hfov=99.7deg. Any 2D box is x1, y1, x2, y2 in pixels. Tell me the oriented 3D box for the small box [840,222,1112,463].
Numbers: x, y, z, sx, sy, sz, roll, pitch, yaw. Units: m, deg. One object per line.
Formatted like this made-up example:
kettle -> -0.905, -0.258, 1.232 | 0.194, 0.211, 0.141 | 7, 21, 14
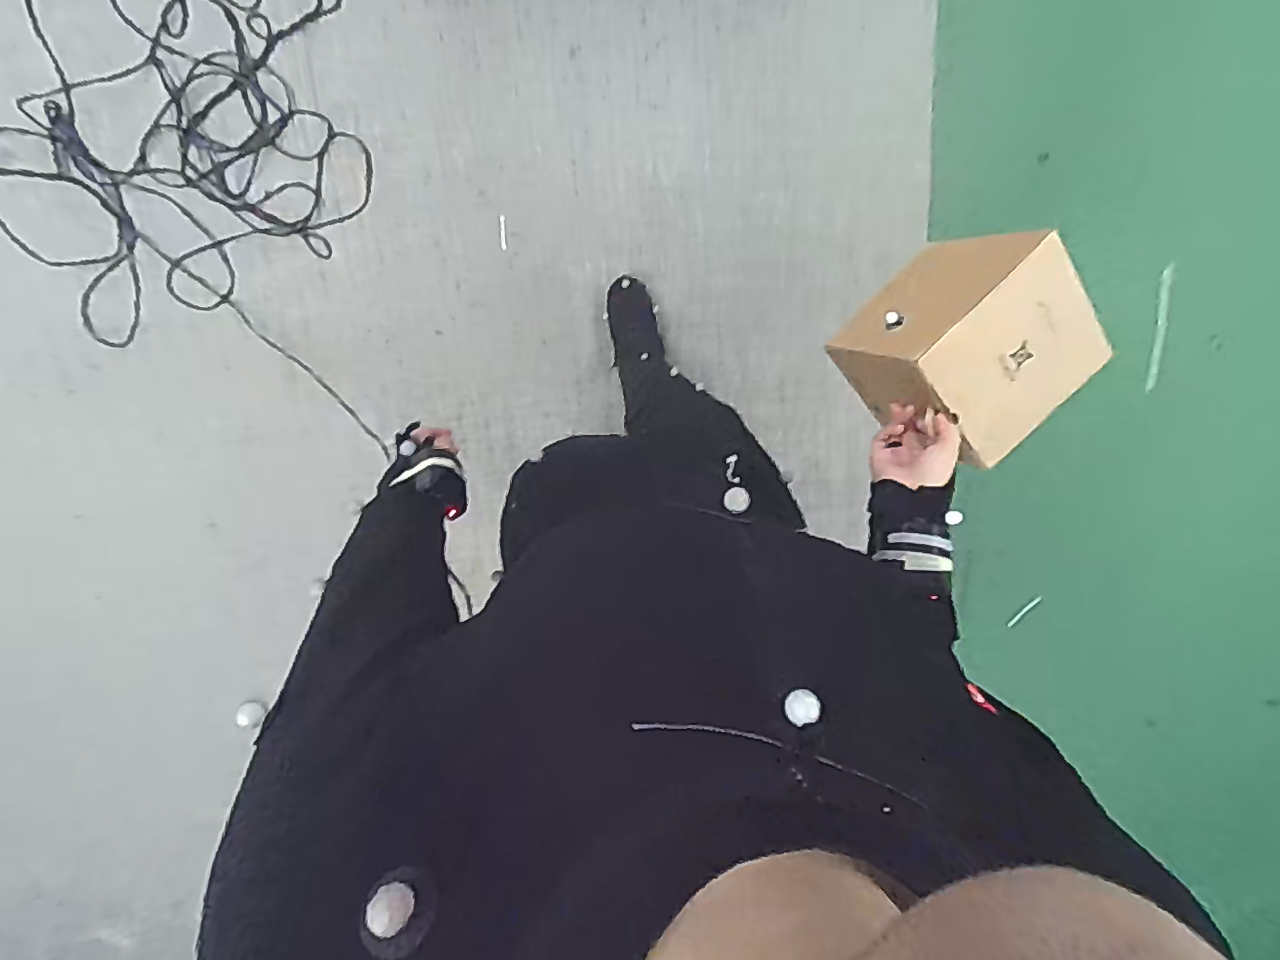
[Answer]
small box -> 0.355, -0.153, 0.605 | 0.179, 0.176, 0.168 | -46, 114, 4
